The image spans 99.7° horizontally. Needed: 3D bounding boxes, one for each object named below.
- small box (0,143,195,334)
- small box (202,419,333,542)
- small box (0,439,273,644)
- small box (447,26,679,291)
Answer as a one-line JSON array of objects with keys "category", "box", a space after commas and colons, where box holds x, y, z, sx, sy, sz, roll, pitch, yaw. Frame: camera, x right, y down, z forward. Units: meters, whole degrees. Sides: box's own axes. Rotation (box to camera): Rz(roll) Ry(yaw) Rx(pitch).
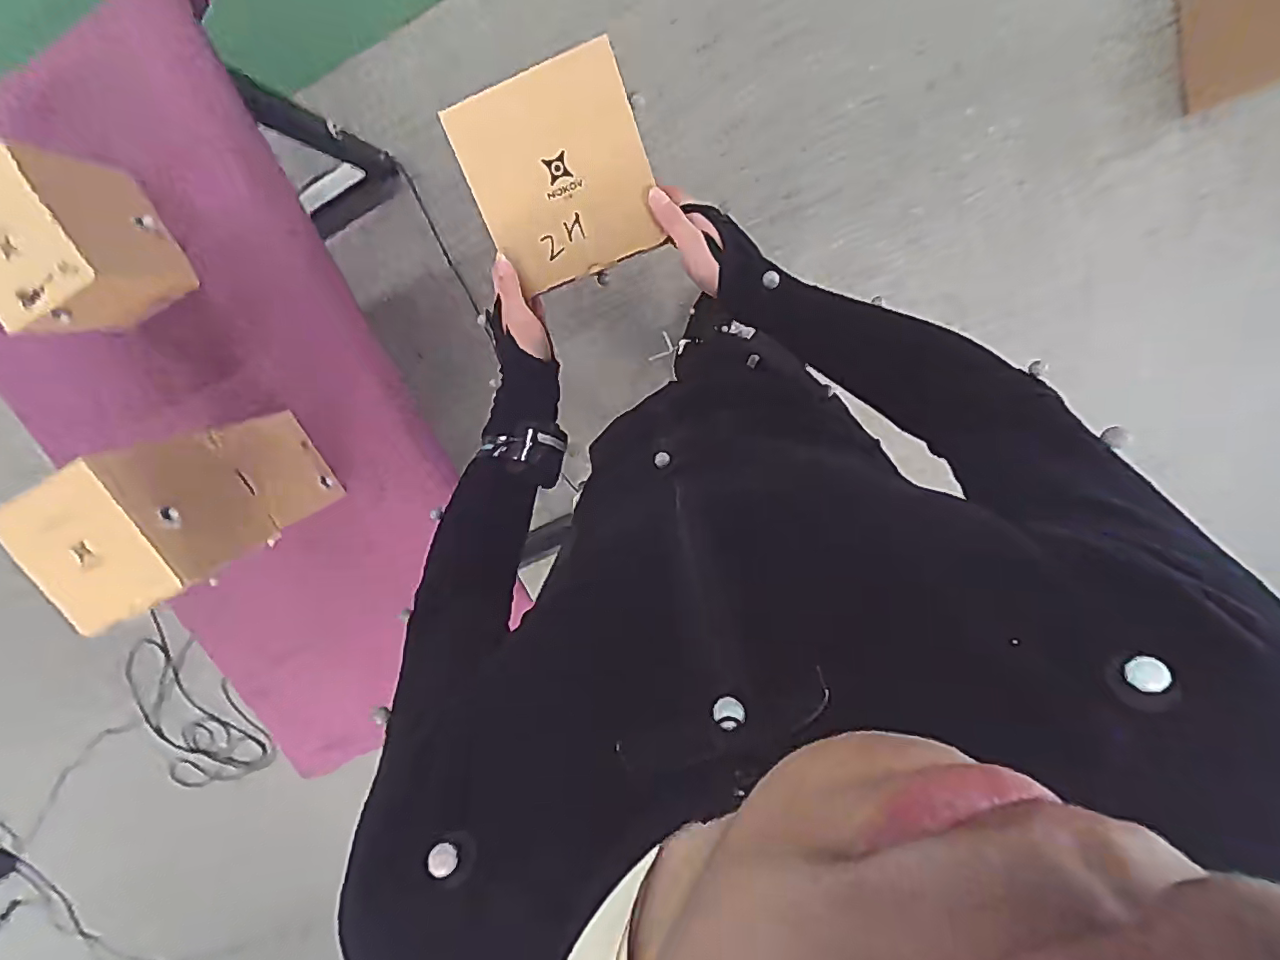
[{"category": "small box", "box": [-0.791, -0.317, 0.750, 0.168, 0.176, 0.179, -24, 104, 11]}, {"category": "small box", "box": [-0.621, 0.021, 0.846, 0.179, 0.176, 0.168, -25, 104, 11]}, {"category": "small box", "box": [-0.626, 0.068, 0.689, 0.168, 0.176, 0.179, -25, 104, 10]}, {"category": "small box", "box": [-0.069, -0.313, 0.568, 0.168, 0.176, 0.179, -19, 112, 6]}]
